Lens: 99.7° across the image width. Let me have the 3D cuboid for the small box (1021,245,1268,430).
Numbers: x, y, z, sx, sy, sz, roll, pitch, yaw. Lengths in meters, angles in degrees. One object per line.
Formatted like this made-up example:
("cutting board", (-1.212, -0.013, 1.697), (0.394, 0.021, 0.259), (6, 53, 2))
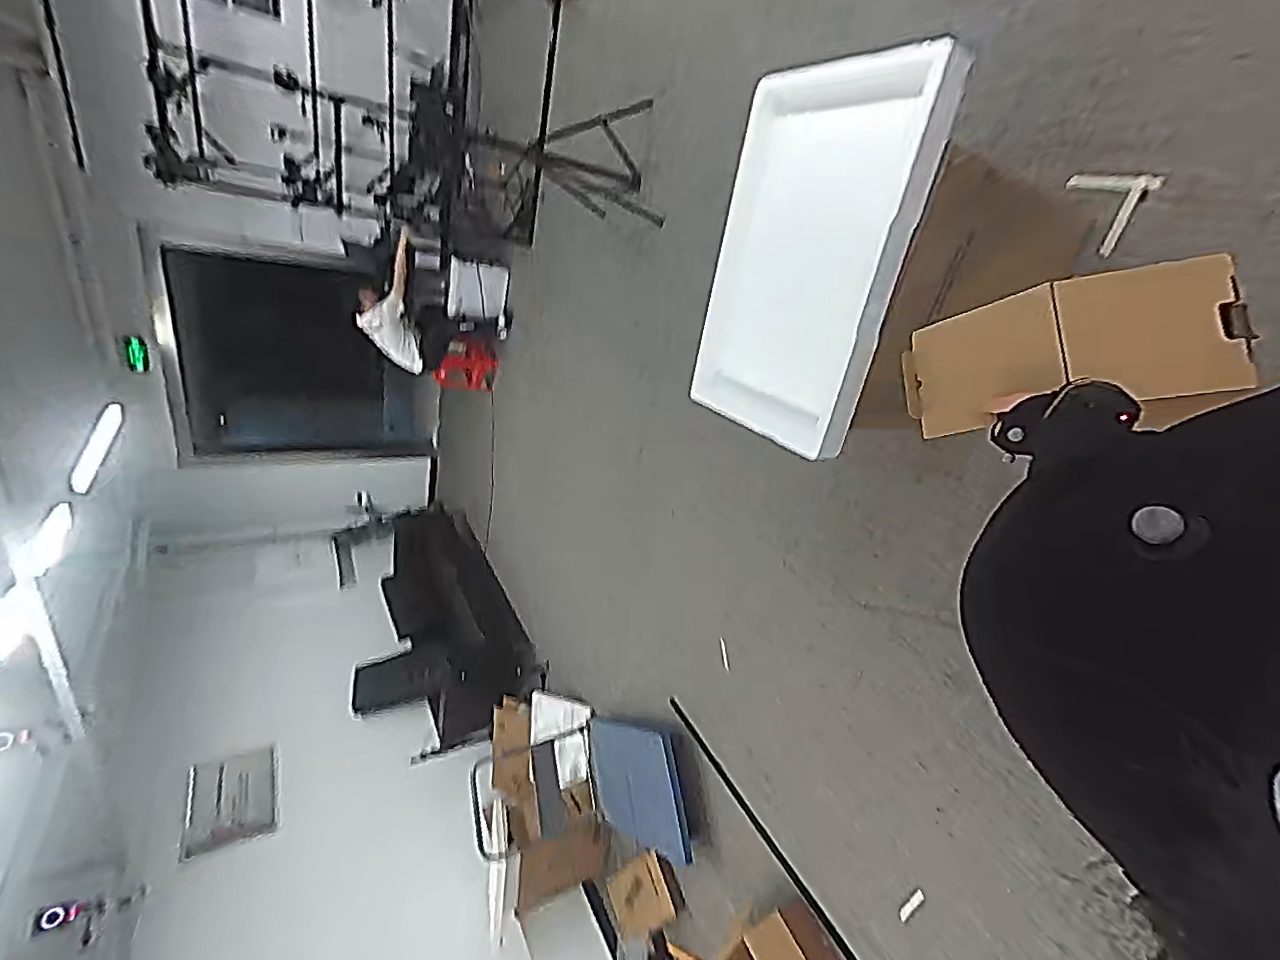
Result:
("small box", (0.610, -0.163, 0.686), (0.179, 0.176, 0.168), (-4, 82, 19))
